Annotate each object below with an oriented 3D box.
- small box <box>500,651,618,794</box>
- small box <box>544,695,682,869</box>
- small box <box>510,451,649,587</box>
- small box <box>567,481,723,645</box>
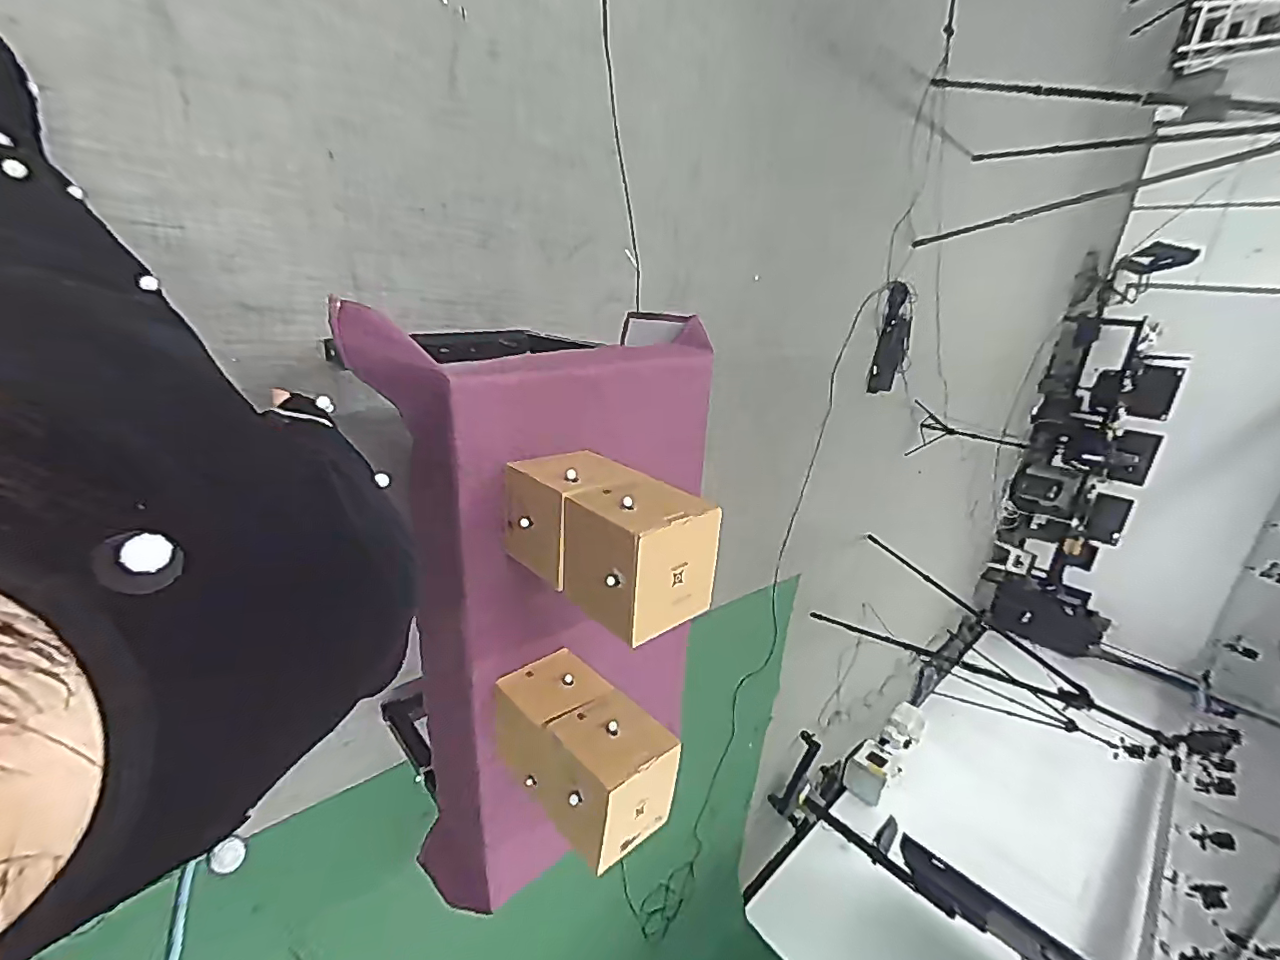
[{"bbox_3d":[-0.161,0.461,1.056,0.168,0.176,0.179,-14,117,-41],"label":"small box"},{"bbox_3d":[-0.051,0.504,0.940,0.168,0.176,0.179,-8,113,-43],"label":"small box"},{"bbox_3d":[-0.109,0.056,0.927,0.179,0.176,0.168,-13,117,-42],"label":"small box"},{"bbox_3d":[0.002,0.110,0.819,0.168,0.176,0.179,-14,117,-40],"label":"small box"}]
